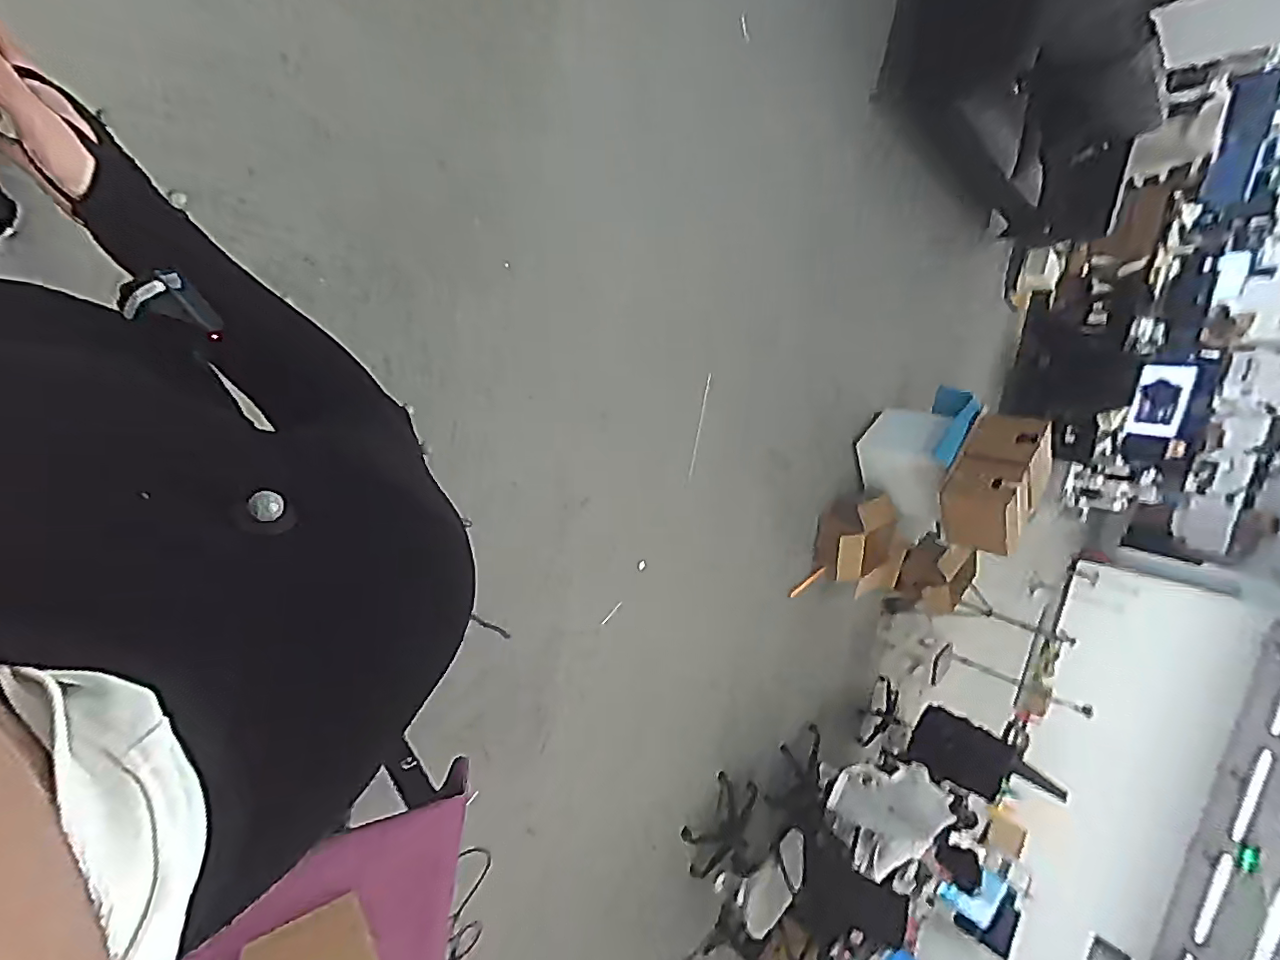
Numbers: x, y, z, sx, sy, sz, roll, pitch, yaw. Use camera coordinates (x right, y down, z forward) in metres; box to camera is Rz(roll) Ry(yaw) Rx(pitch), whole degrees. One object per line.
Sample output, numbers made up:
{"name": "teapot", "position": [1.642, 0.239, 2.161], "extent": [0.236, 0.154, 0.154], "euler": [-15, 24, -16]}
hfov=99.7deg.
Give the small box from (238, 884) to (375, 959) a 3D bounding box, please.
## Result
{"name": "small box", "position": [-0.573, 0.859, 0.924], "extent": [0.179, 0.176, 0.168], "euler": [-4, 107, -43]}
